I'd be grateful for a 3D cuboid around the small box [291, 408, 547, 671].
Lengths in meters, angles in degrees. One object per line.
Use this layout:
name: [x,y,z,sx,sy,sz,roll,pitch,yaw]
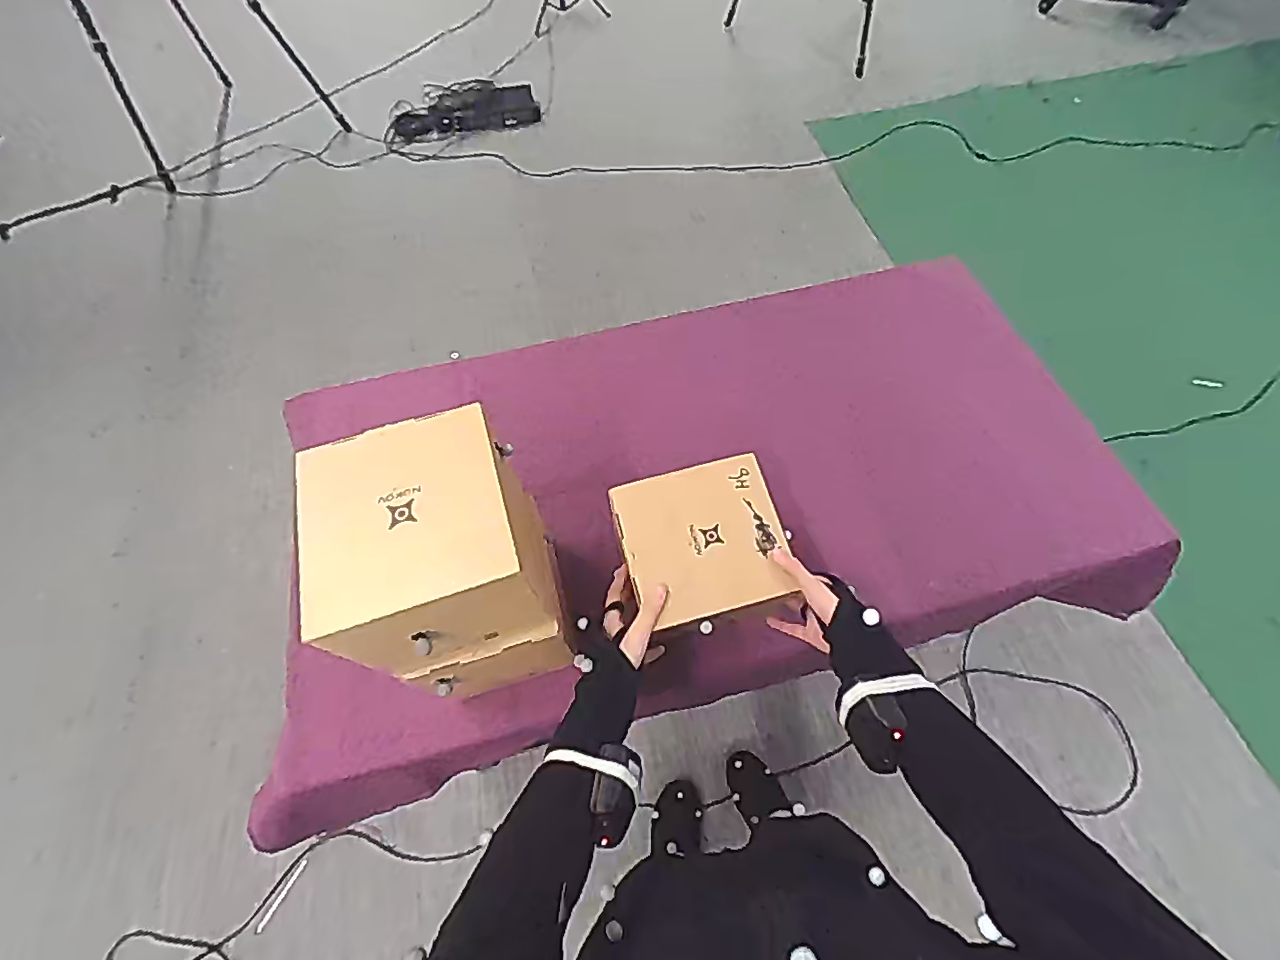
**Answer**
small box: [-0.197,0.067,0.512,0.168,0.176,0.179,-18,61,-7]
